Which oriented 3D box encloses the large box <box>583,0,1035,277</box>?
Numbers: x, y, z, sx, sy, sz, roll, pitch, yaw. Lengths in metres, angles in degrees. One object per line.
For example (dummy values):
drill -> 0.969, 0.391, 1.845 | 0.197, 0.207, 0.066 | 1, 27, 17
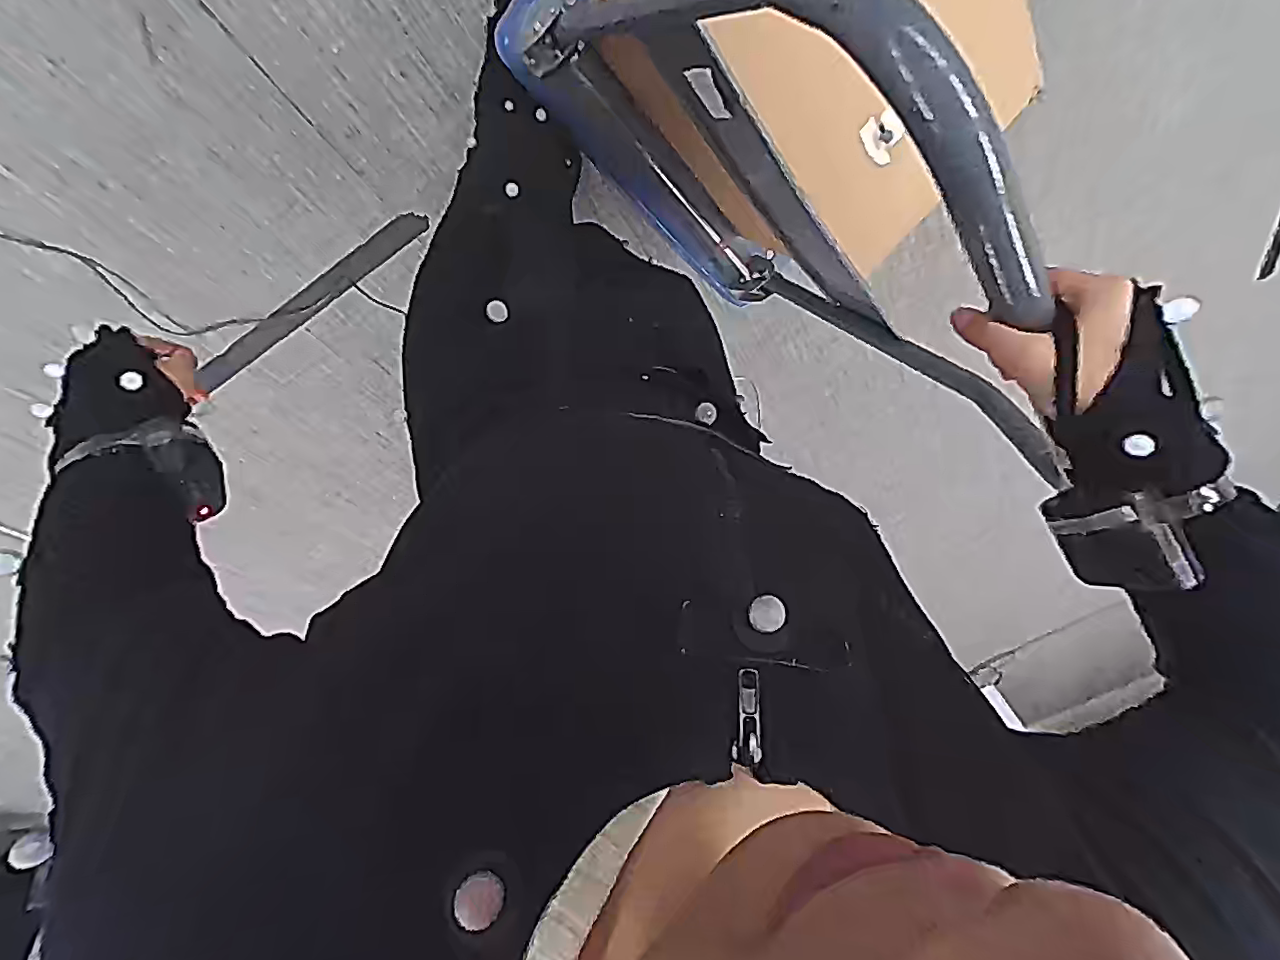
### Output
large box -> 0.203, -0.542, 0.685 | 0.408, 0.320, 0.320 | 32, 106, -40
